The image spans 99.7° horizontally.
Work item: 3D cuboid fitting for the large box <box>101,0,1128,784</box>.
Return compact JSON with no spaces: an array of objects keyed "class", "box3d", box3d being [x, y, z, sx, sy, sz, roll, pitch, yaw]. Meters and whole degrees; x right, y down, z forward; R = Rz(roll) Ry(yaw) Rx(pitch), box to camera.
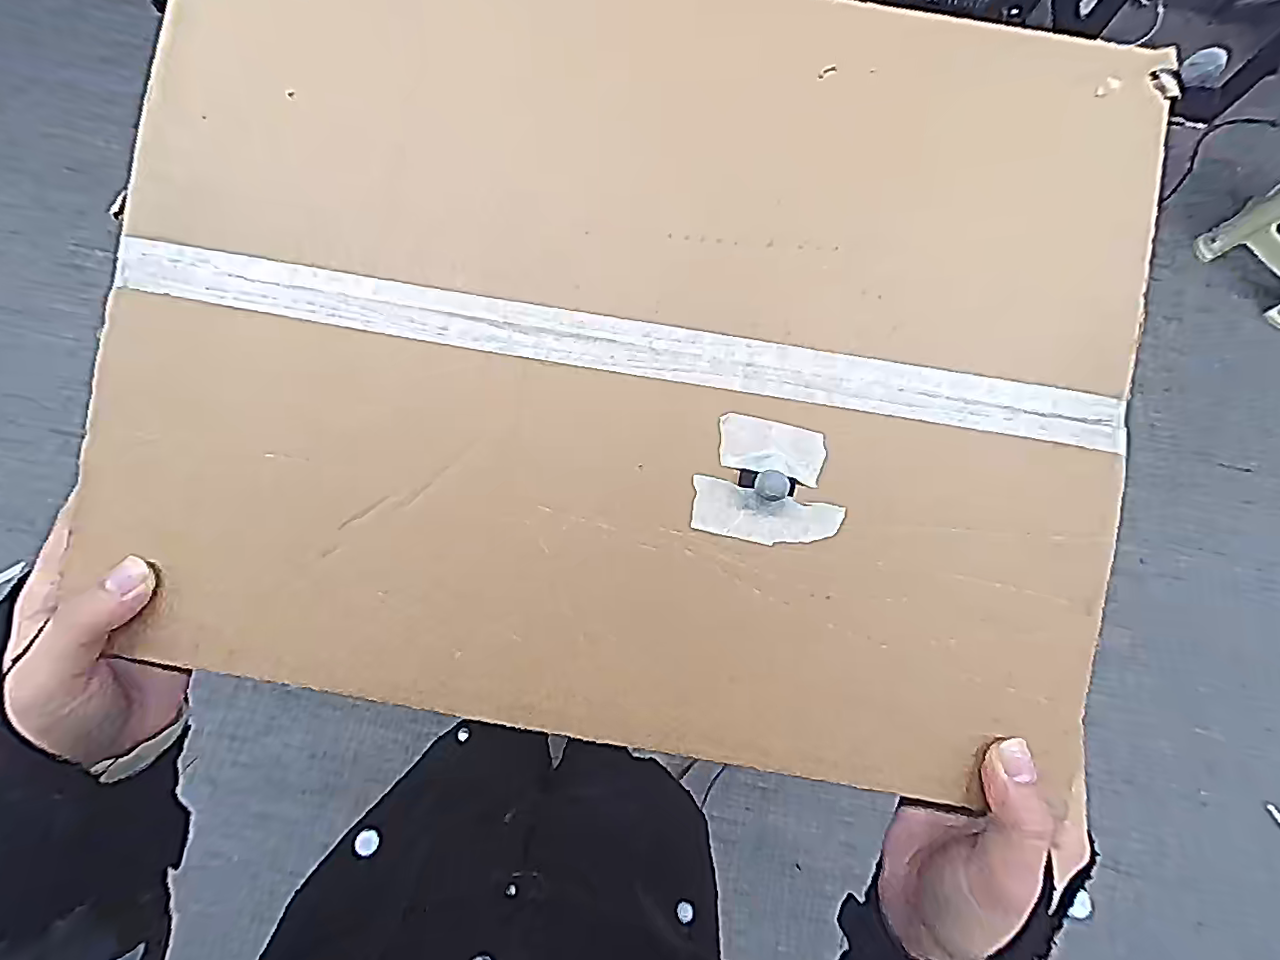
[{"class":"large box","box3d":[-0.007,-0.046,0.378,0.408,0.320,0.320,10,89,0]}]
